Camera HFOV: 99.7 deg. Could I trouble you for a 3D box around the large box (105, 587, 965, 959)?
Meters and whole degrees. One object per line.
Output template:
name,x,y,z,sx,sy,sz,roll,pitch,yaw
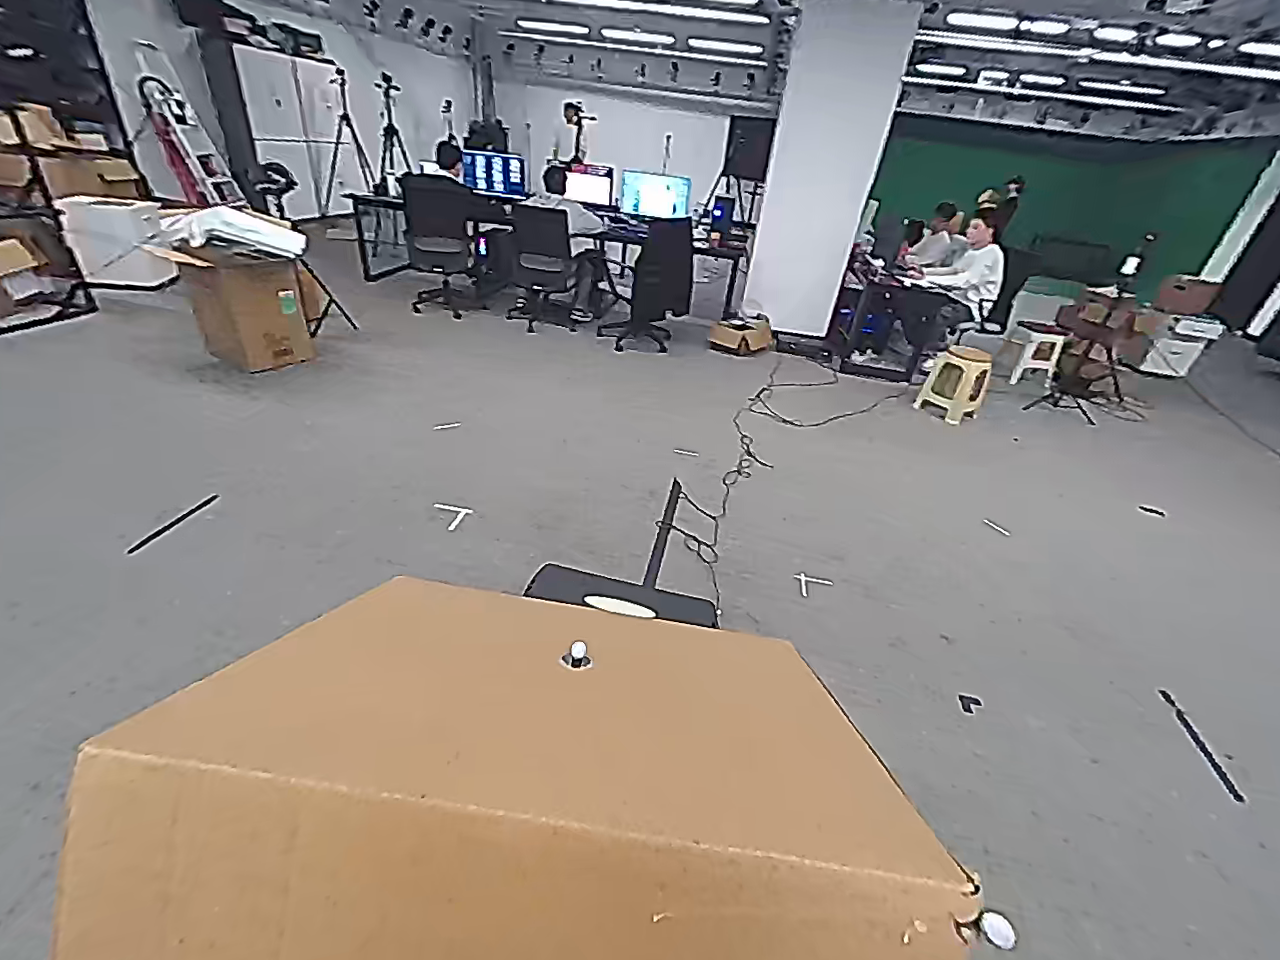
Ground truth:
large box,-0.065,0.288,0.408,0.408,0.320,0.320,9,5,0
